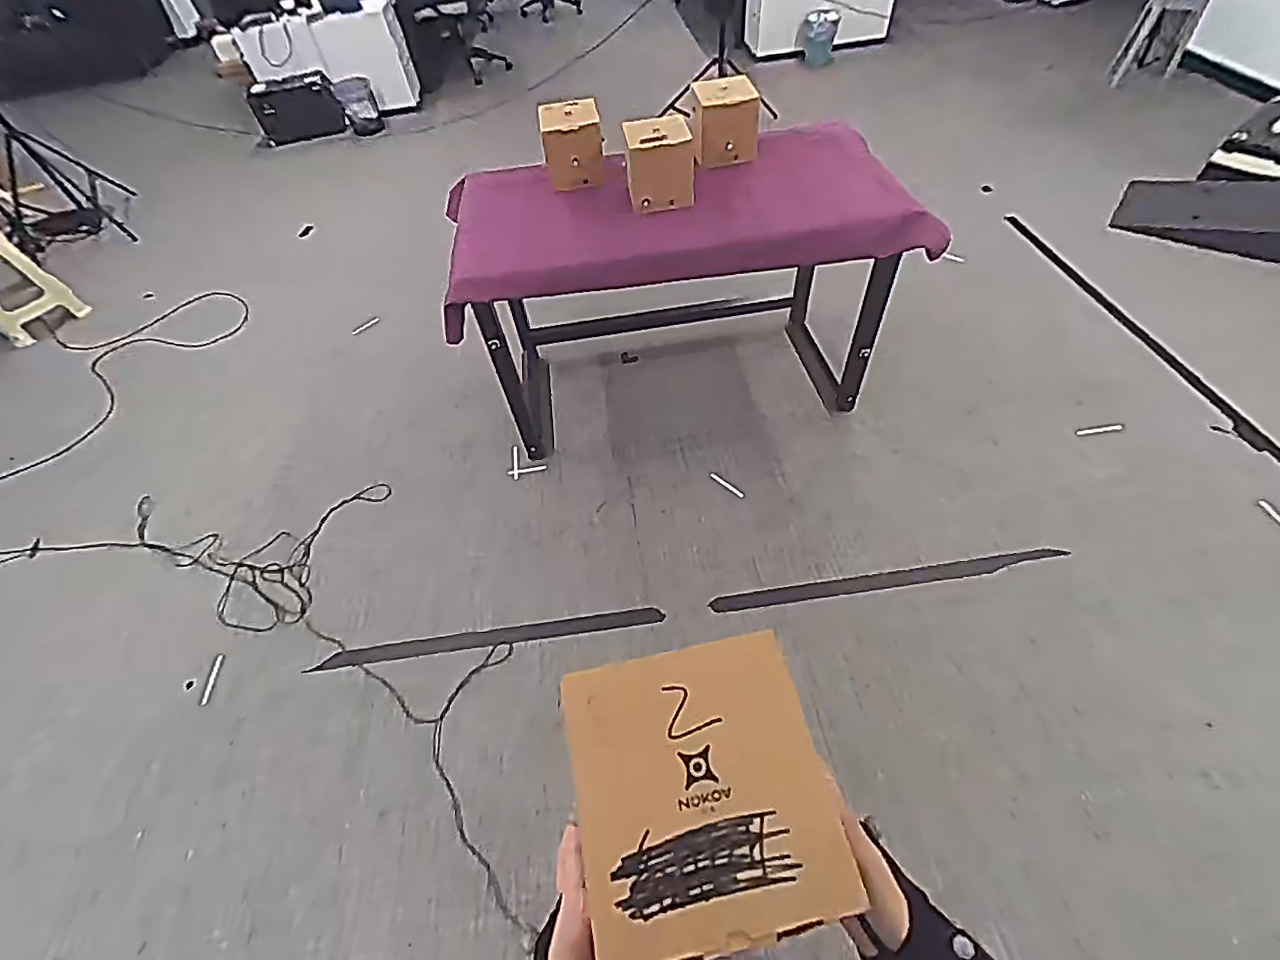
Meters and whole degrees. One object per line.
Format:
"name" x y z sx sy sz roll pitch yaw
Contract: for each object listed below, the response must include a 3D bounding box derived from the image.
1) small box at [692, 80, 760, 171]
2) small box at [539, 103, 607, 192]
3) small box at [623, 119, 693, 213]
"small box" 0.246 -1.048 1.601 0.168 0.176 0.179 -10 54 0
"small box" -0.194 -0.966 1.585 0.168 0.176 0.179 -9 55 -2
"small box" 0.050 -0.849 1.474 0.168 0.176 0.179 -9 52 -1
